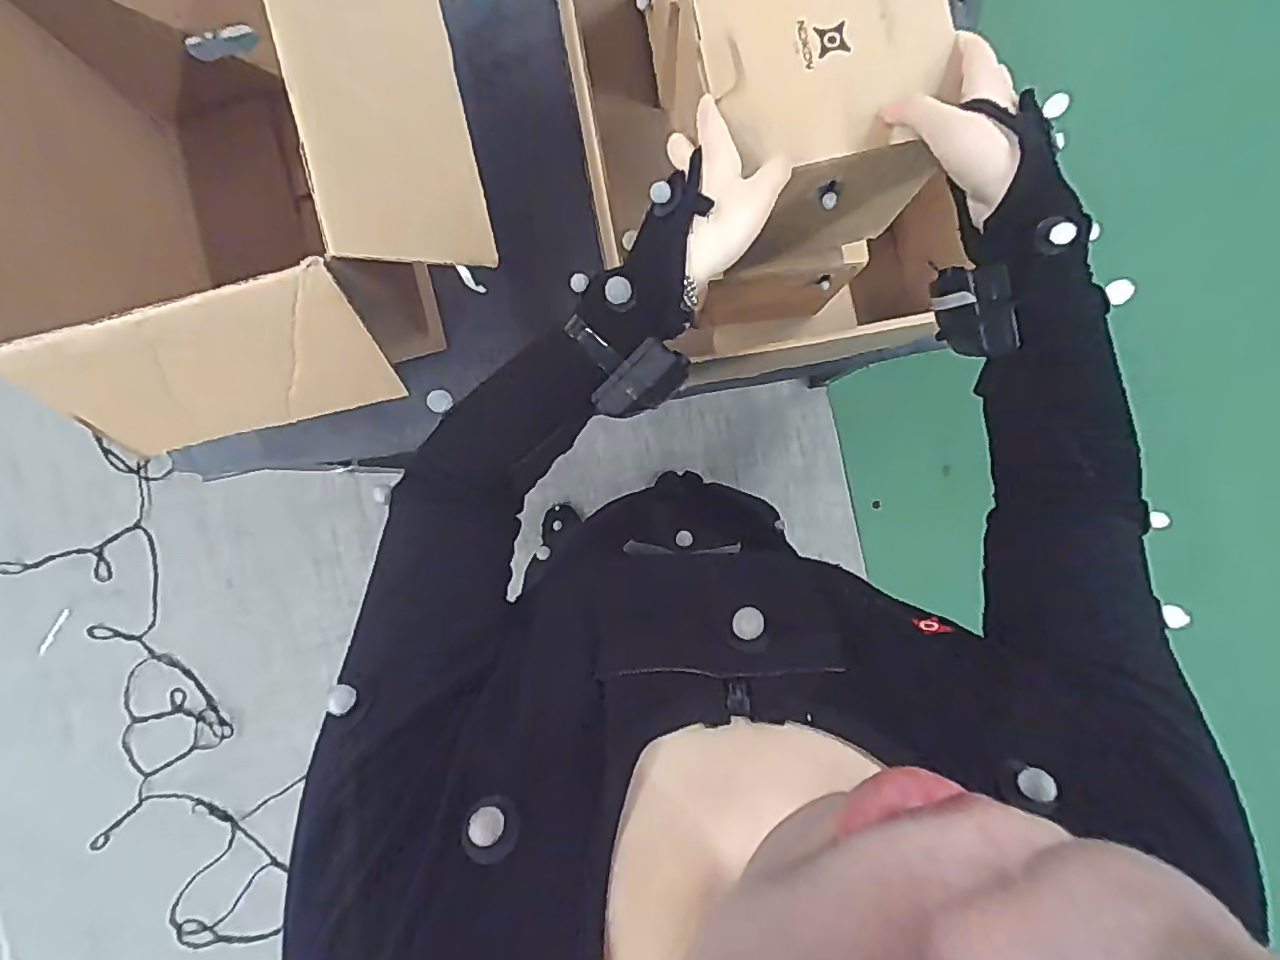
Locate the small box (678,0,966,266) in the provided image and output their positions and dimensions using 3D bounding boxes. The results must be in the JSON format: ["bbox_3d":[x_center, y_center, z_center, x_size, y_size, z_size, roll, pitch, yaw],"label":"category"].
[{"bbox_3d":[0.132,-0.306,0.464,0.179,0.176,0.168,-13,90,0],"label":"small box"}]
